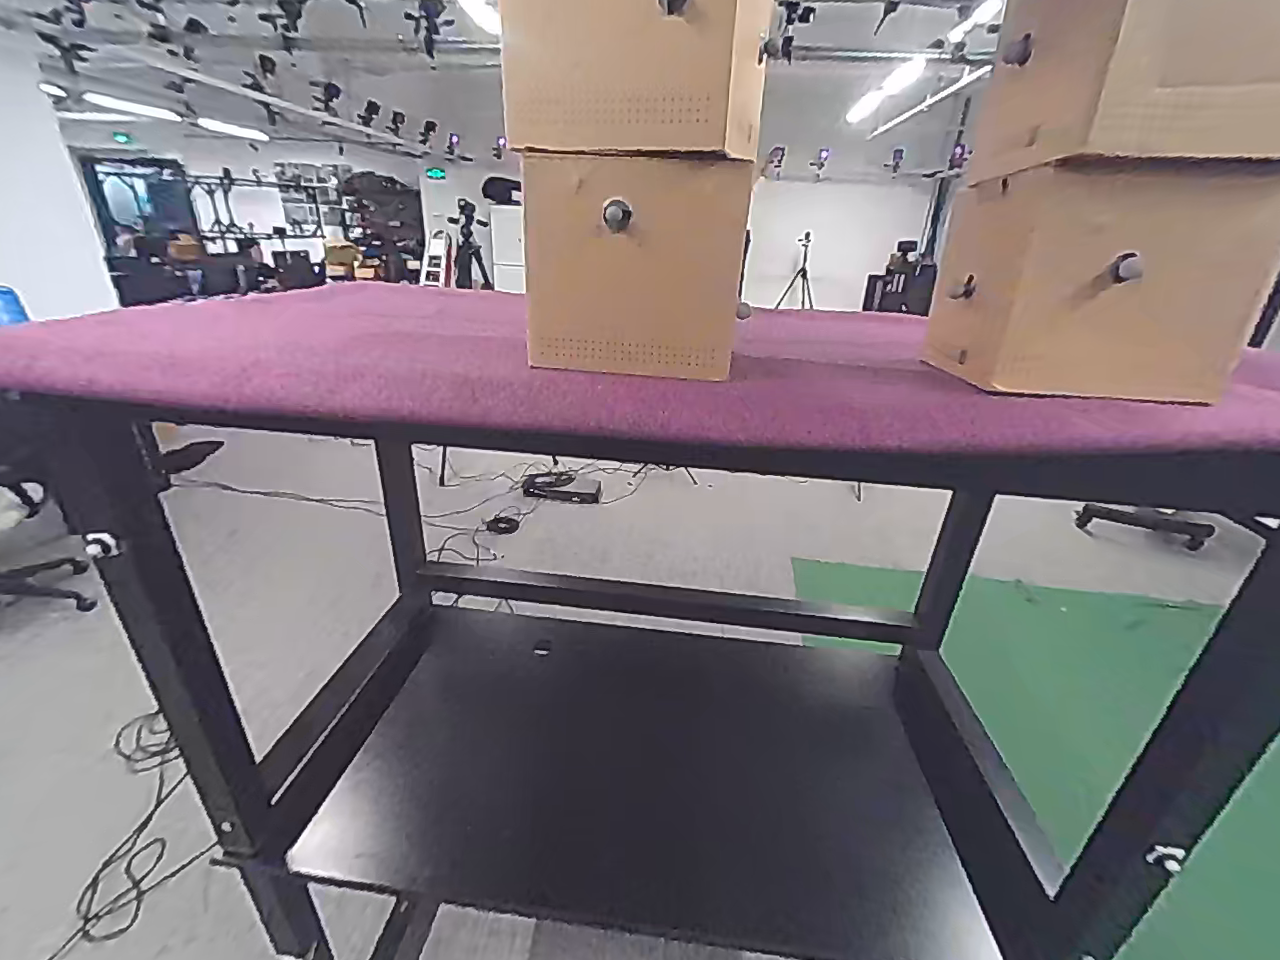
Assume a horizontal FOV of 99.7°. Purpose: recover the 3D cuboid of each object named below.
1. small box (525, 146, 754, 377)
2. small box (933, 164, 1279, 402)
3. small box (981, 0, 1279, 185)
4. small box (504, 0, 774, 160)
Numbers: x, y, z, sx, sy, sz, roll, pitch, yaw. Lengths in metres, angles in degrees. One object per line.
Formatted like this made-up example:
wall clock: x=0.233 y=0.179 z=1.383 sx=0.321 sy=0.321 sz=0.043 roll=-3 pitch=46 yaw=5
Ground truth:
small box: x=0.005 y=-0.197 z=0.502 sx=0.179 sy=0.176 sz=0.168 roll=6 pitch=25 yaw=5
small box: x=0.383 y=-0.169 z=0.478 sx=0.179 sy=0.176 sz=0.168 roll=4 pitch=23 yaw=6
small box: x=0.387 y=-0.315 z=0.404 sx=0.179 sy=0.176 sz=0.168 roll=5 pitch=22 yaw=6
small box: x=0.008 y=-0.345 z=0.434 sx=0.179 sy=0.176 sz=0.168 roll=9 pitch=25 yaw=15
